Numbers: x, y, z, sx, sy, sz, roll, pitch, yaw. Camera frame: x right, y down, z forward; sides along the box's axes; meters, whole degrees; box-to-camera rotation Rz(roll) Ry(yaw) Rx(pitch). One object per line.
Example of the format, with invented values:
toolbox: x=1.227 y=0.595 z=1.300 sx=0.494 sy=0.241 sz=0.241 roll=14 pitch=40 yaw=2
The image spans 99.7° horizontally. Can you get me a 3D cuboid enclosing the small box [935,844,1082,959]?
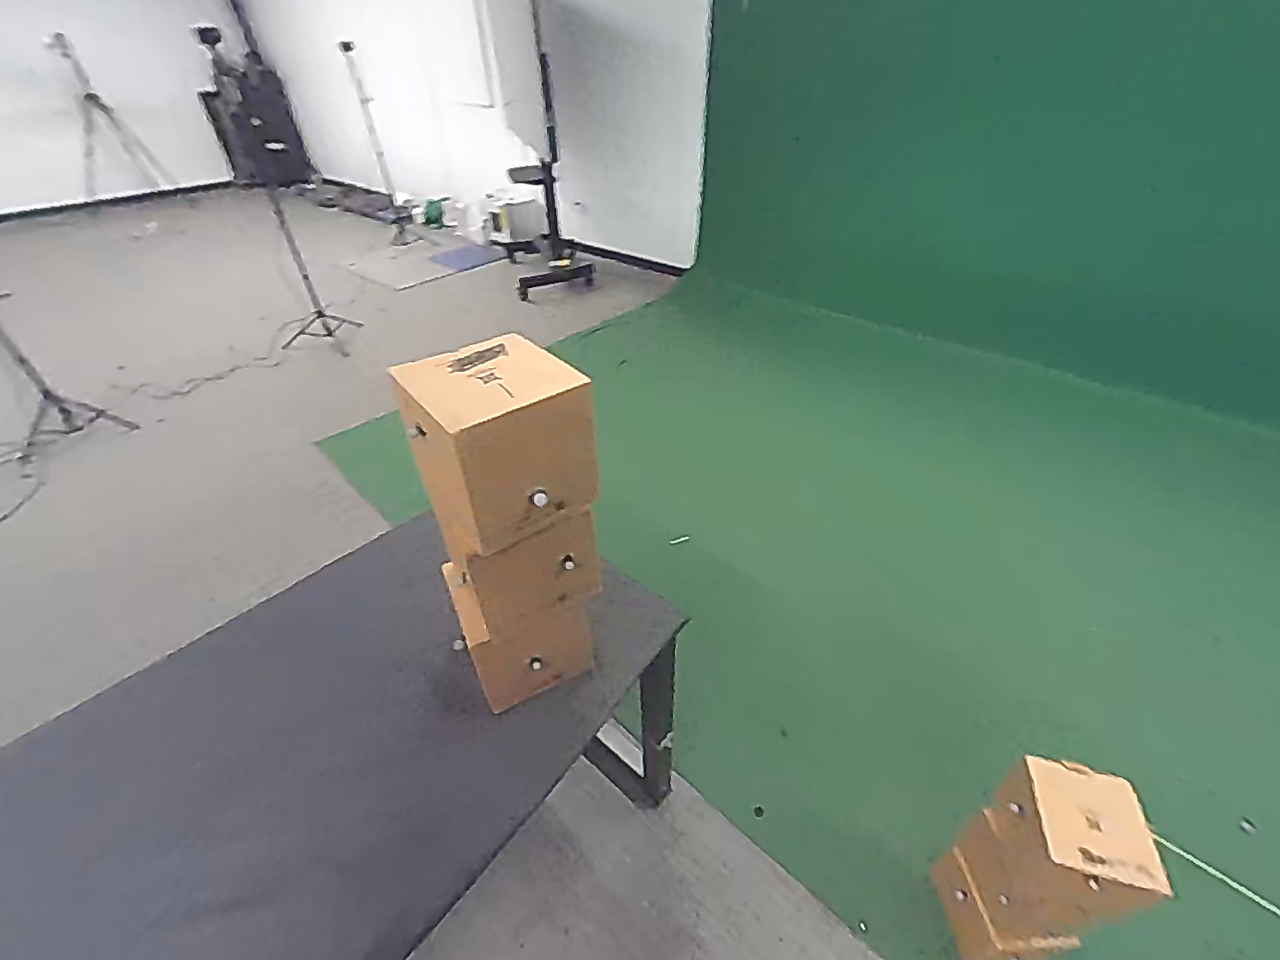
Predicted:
small box: x=0.756 y=0.893 z=1.134 sx=0.168 sy=0.176 sz=0.179 roll=-3 pitch=39 yaw=-1

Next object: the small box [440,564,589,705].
small box: x=-0.189 y=0.216 z=0.832 sx=0.168 sy=0.176 sz=0.179 roll=-19 pitch=40 yaw=-21

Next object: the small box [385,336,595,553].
small box: x=-0.169 y=-0.046 z=0.636 sx=0.168 sy=0.176 sz=0.179 roll=-28 pitch=45 yaw=-29

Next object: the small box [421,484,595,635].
small box: x=-0.173 y=0.084 z=0.737 sx=0.168 sy=0.176 sz=0.179 roll=-22 pitch=41 yaw=-25

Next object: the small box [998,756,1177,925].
small box: x=0.756 y=0.625 z=0.942 sx=0.168 sy=0.176 sz=0.179 roll=10 pitch=40 yaw=14
